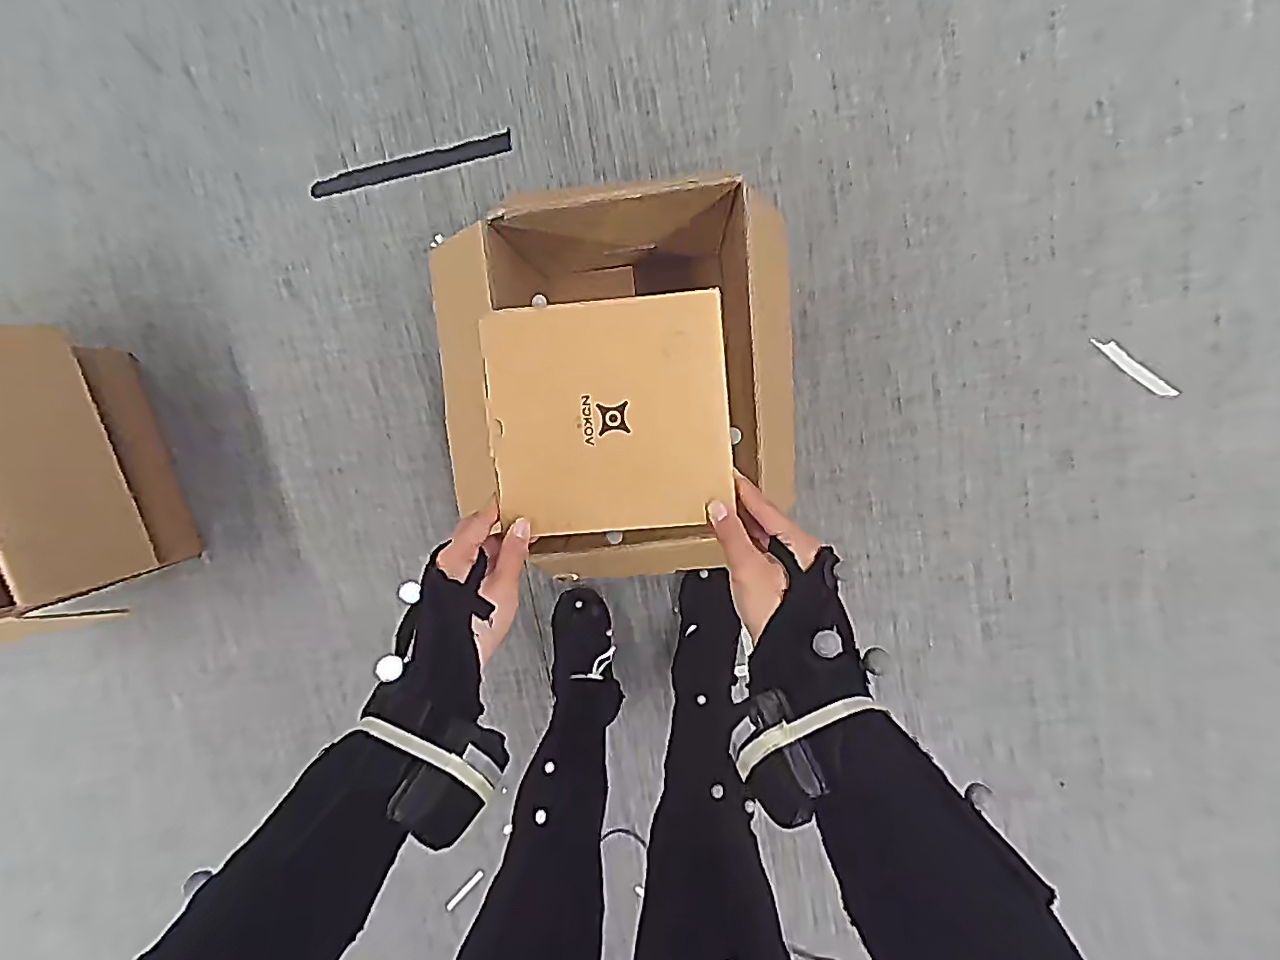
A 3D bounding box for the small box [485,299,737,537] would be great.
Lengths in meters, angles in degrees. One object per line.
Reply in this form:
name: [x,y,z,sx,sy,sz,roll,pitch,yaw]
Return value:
small box: [-0.017,-0.051,0.476,0.179,0.176,0.168,-5,94,5]
